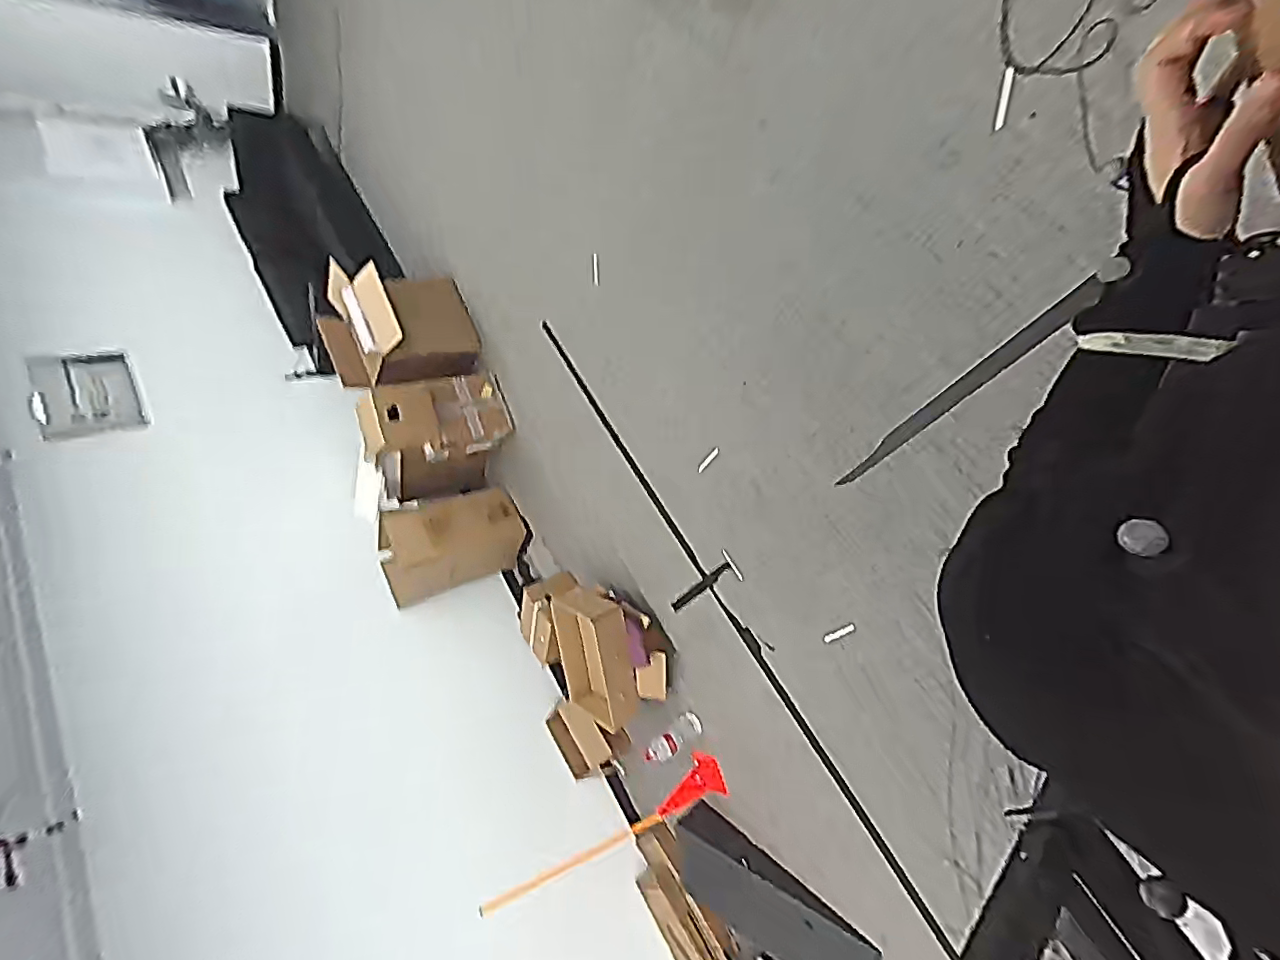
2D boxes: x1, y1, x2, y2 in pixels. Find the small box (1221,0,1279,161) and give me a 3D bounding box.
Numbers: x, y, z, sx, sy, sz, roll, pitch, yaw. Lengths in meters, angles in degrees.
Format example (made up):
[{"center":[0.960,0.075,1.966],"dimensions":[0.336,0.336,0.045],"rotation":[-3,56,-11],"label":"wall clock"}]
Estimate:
[{"center":[0.367,-0.263,0.220],"dimensions":[0.168,0.176,0.179],"rotation":[-16,90,46],"label":"small box"}]
